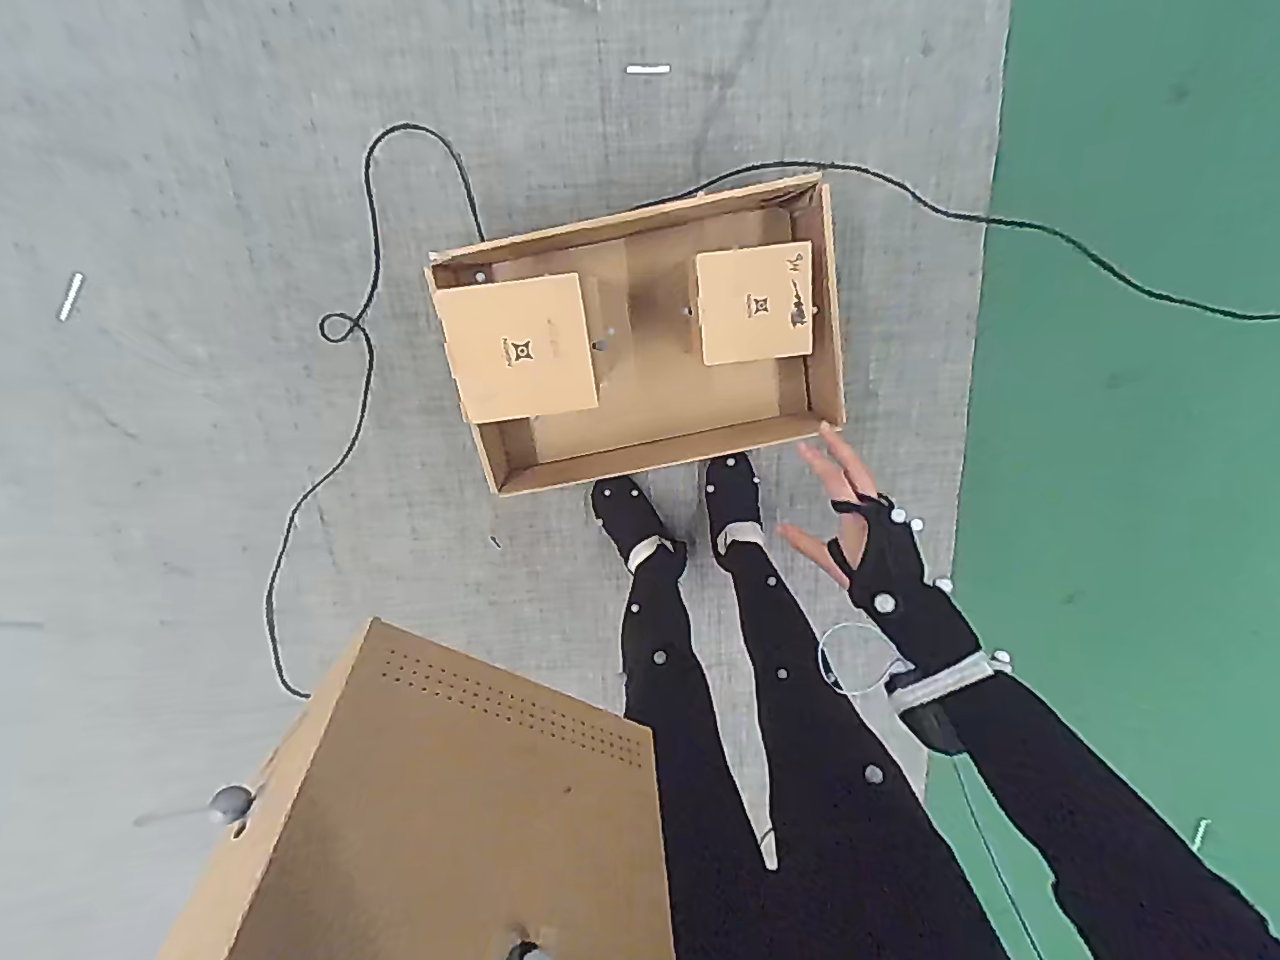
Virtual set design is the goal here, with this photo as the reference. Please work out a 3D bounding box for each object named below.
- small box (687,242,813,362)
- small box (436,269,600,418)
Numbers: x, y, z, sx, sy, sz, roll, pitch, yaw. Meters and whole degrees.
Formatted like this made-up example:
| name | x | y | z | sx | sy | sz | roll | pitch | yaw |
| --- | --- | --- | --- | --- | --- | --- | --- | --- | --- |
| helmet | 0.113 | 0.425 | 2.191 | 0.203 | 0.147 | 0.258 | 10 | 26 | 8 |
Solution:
| name | x | y | z | sx | sy | sz | roll | pitch | yaw |
| --- | --- | --- | --- | --- | --- | --- | --- | --- | --- |
| small box | 0.172 | -0.289 | 0.892 | 0.179 | 0.176 | 0.168 | -6 | 108 | -1 |
| small box | -0.151 | -0.189 | 0.736 | 0.179 | 0.176 | 0.168 | -7 | 110 | -2 |
